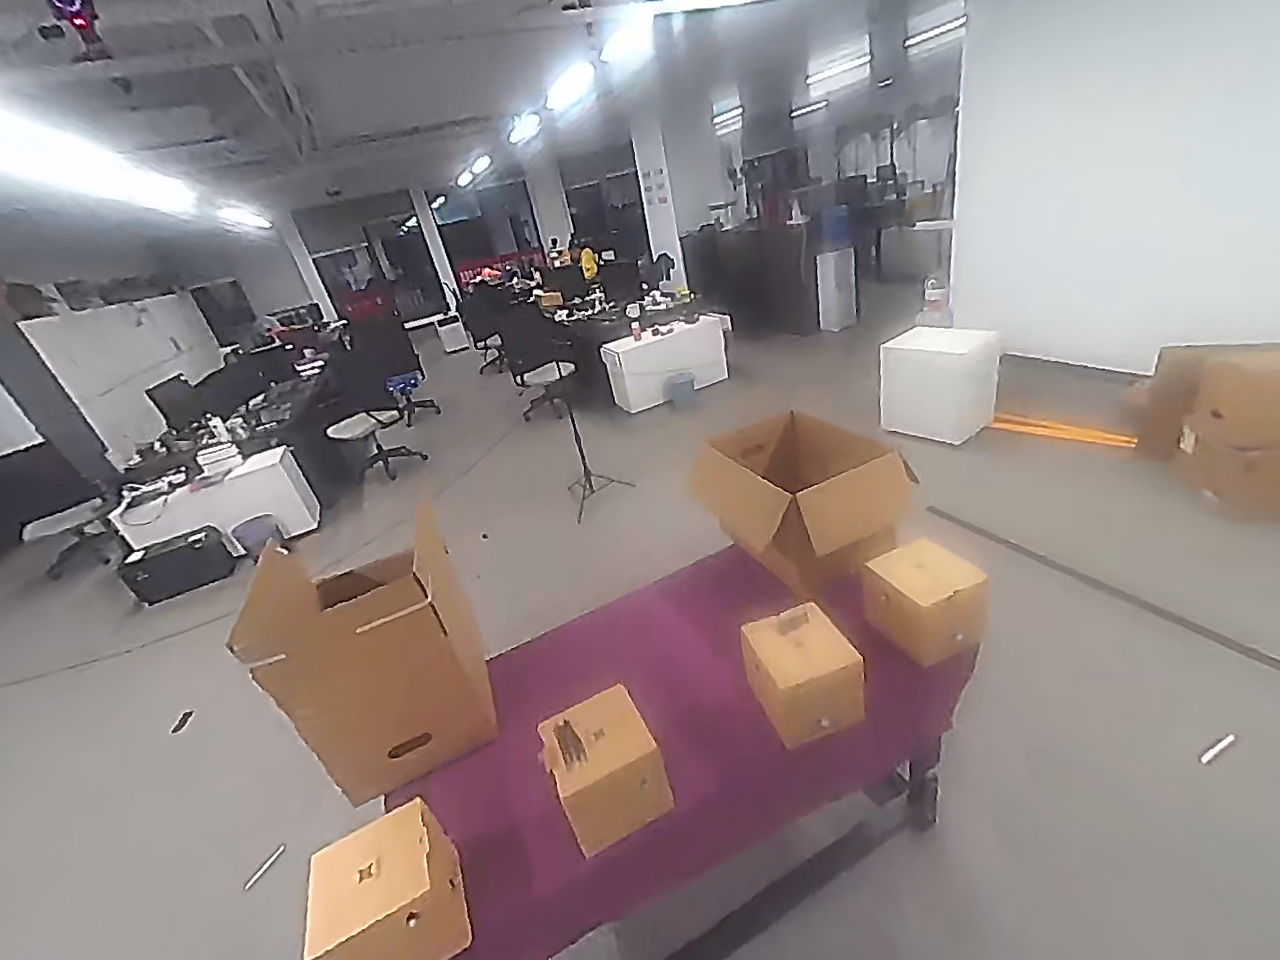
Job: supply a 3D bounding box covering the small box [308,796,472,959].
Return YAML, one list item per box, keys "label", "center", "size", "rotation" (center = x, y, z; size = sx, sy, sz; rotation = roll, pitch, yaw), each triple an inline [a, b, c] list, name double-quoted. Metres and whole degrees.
- label: "small box"
  center: [-0.389, 0.662, 0.856]
  size: [0.179, 0.176, 0.168]
  rotation: [-22, 28, -19]

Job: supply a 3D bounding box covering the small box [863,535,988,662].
- label: "small box"
  center: [0.607, 0.252, 1.163]
  size: [0.168, 0.176, 0.179]
  rotation: [-21, 27, -11]
